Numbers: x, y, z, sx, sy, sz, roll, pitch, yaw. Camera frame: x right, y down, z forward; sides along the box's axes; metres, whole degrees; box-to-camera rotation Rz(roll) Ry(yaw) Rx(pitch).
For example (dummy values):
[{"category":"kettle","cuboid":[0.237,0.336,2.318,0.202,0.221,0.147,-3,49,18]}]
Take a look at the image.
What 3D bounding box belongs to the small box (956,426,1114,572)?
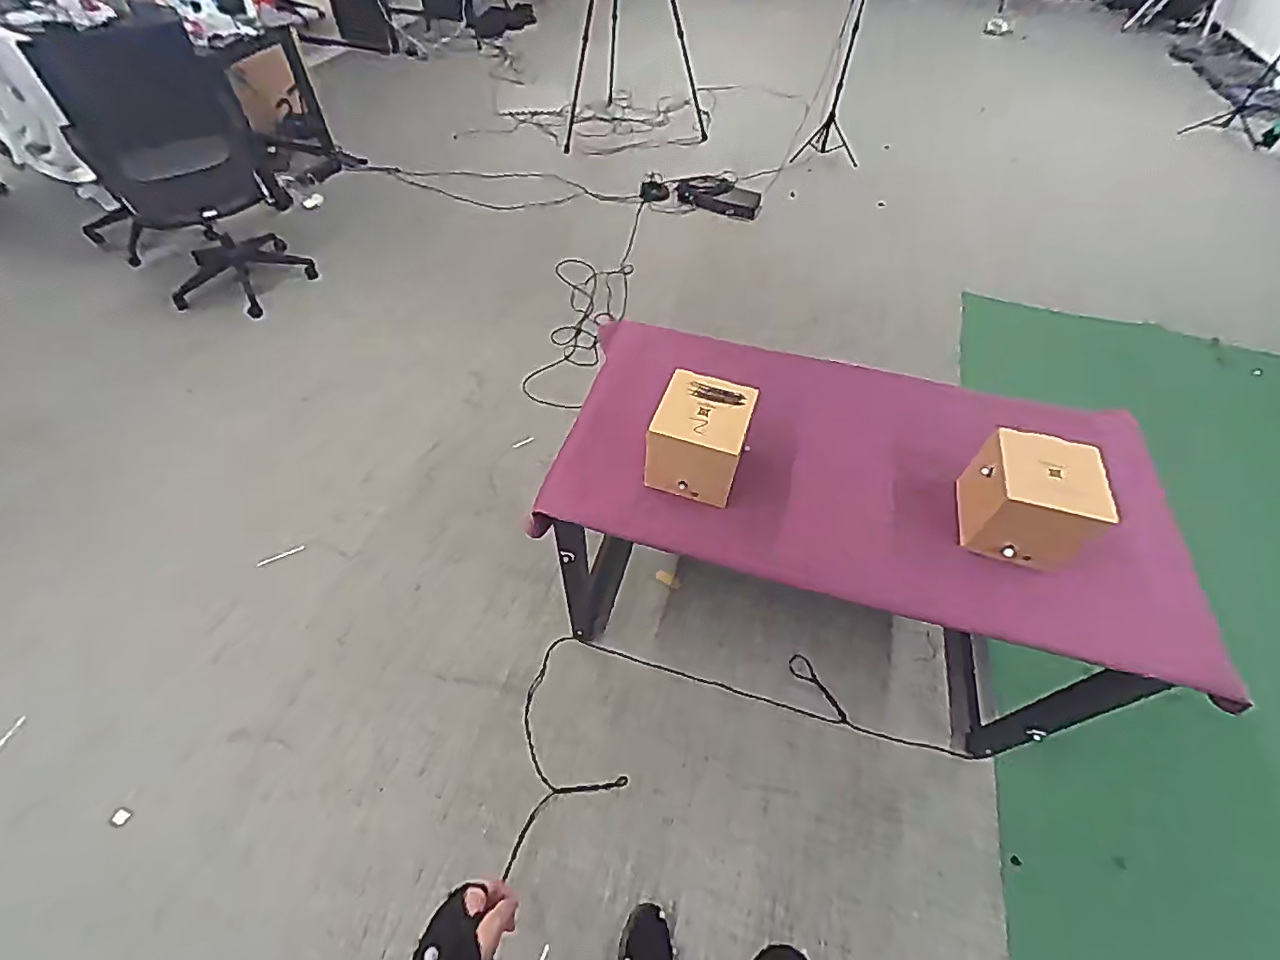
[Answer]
[{"category":"small box","cuboid":[0.696,0.036,0.979,0.168,0.176,0.179,15,53,11]}]
